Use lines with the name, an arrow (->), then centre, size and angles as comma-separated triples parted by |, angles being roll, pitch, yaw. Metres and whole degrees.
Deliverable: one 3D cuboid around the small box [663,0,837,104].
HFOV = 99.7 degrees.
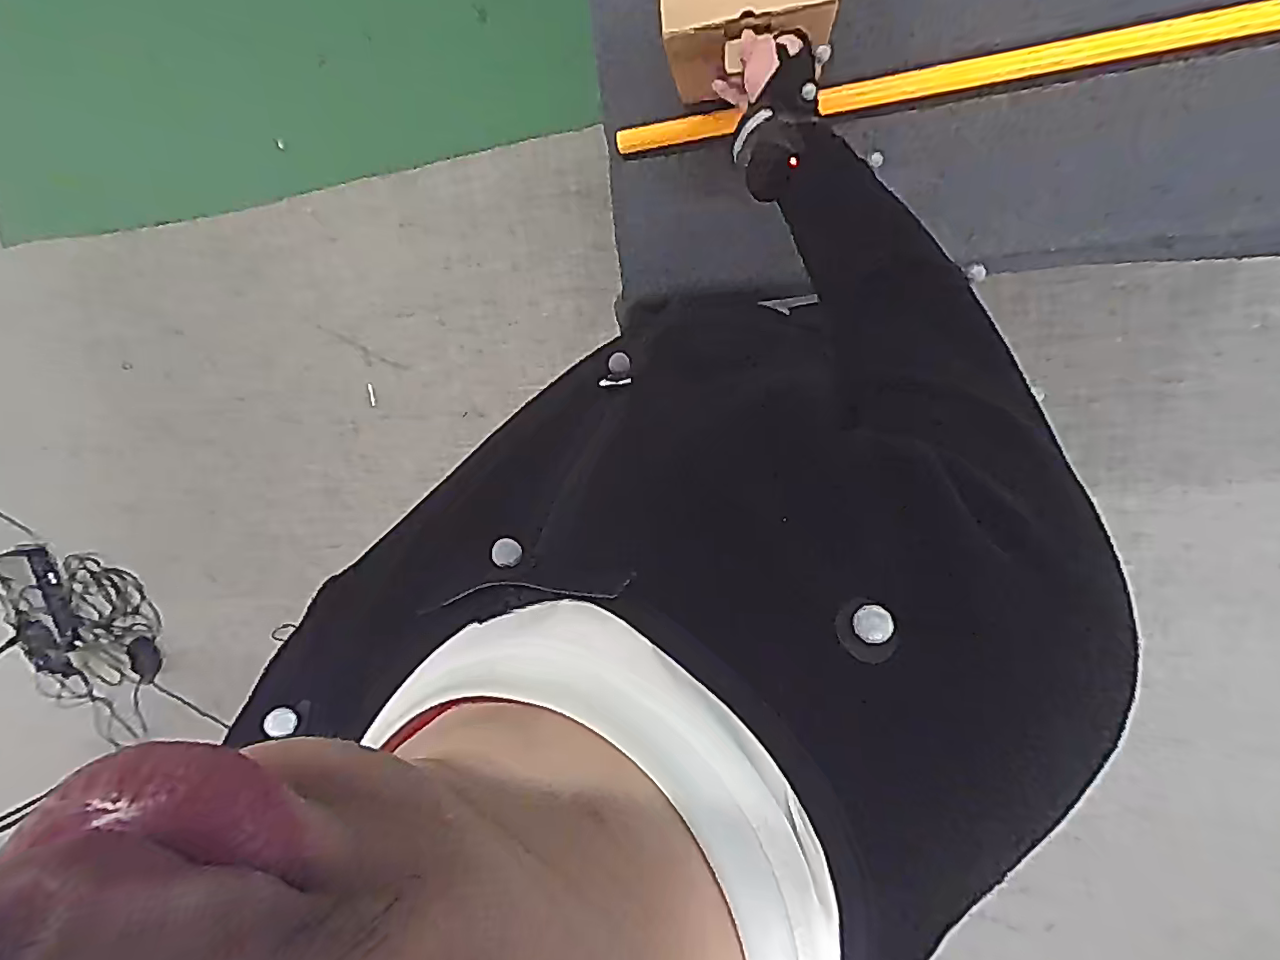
small box -> 0.116, -0.531, 0.574 | 0.168, 0.176, 0.179 | -2, 104, 14
